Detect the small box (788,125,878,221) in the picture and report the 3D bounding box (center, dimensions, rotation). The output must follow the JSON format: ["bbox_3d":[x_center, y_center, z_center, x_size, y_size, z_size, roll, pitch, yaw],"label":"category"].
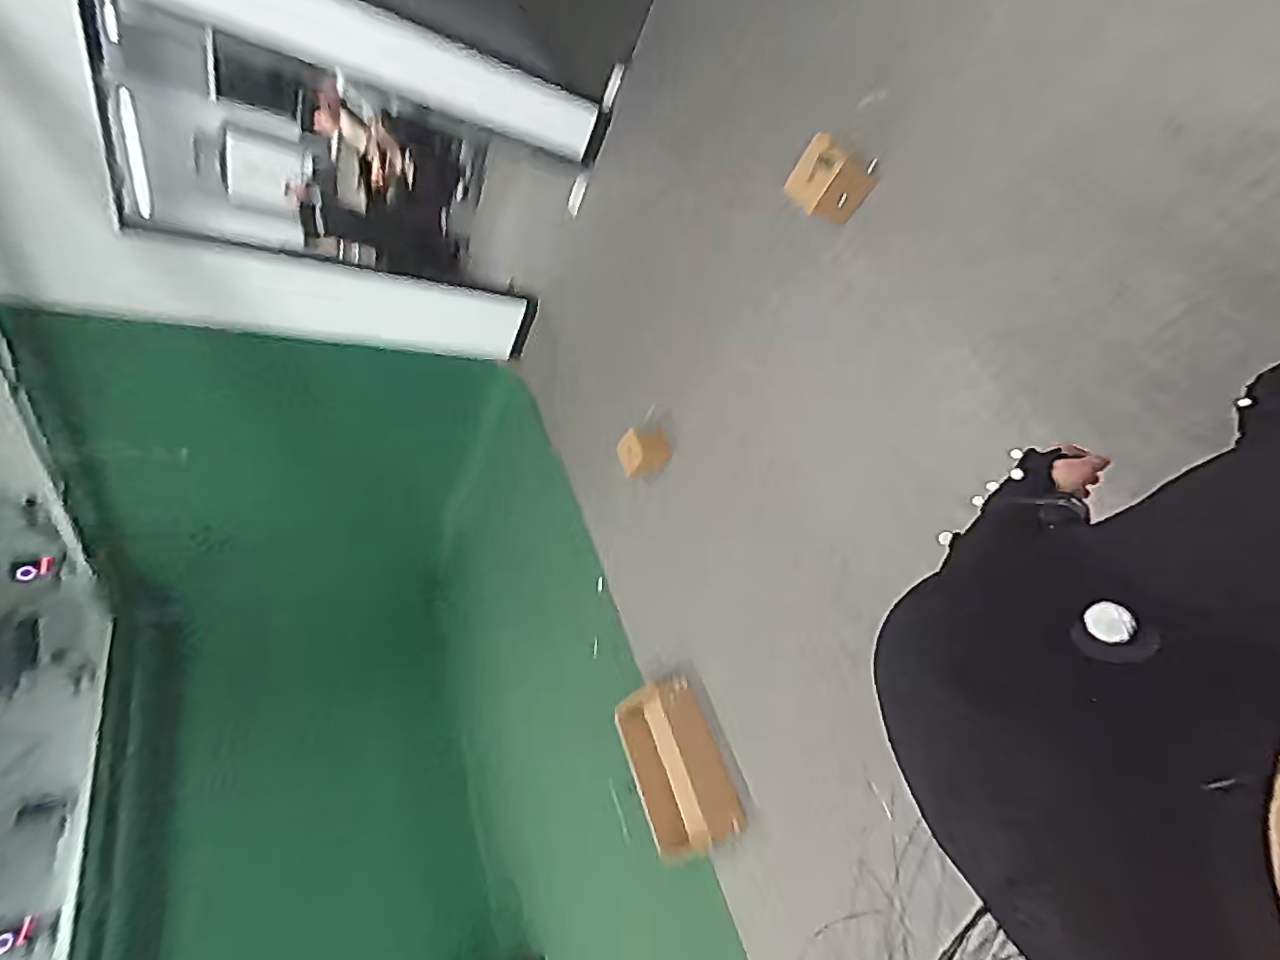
[{"bbox_3d":[0.601,-0.940,1.667,0.179,0.176,0.168,-53,50,42],"label":"small box"}]

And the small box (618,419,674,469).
[{"bbox_3d":[0.028,-0.160,2.491,0.168,0.176,0.179,-48,54,45],"label":"small box"}]
